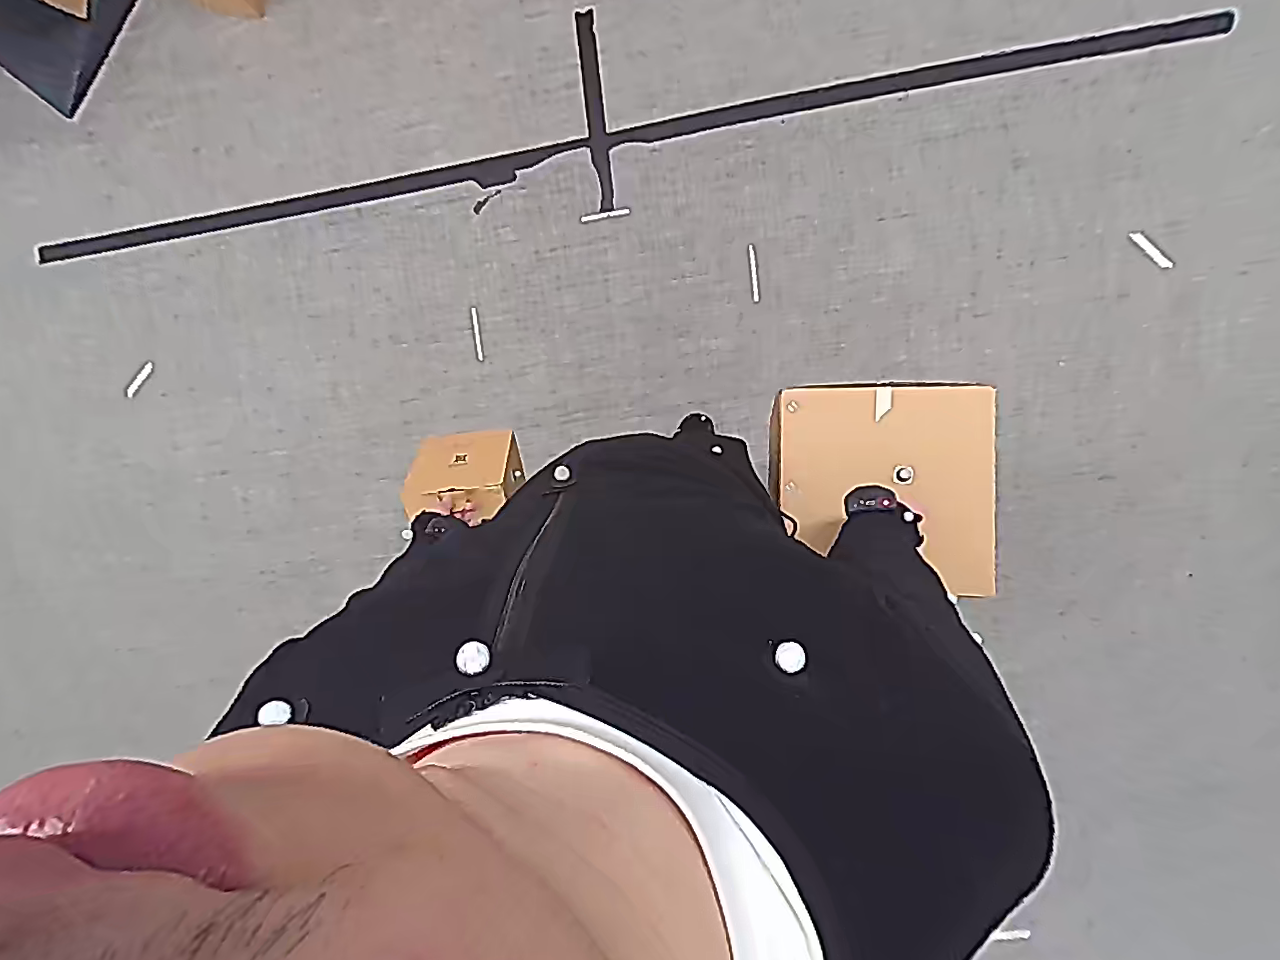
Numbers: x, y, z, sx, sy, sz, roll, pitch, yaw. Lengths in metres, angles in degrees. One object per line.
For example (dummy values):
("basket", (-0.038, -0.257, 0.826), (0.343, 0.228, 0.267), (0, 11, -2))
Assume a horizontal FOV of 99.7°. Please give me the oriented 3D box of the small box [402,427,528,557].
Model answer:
("small box", (-0.304, 0.026, 0.985), (0.168, 0.179, 0.176), (-6, 128, -2))
